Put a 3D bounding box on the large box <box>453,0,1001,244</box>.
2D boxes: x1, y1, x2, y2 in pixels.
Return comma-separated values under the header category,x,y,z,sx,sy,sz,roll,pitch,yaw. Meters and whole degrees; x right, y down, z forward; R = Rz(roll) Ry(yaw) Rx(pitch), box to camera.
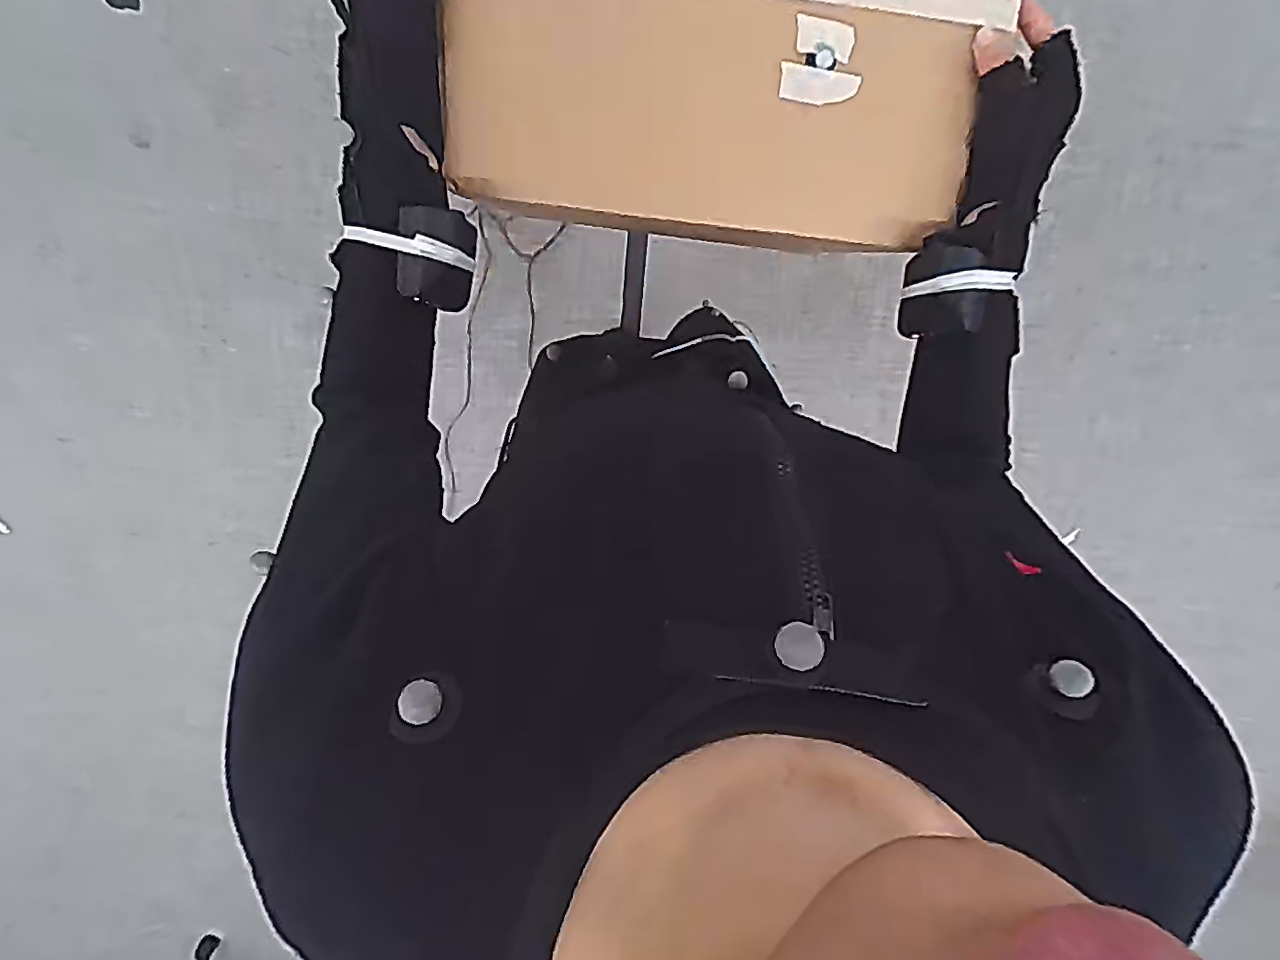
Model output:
category,x,y,z,sx,sy,sz,roll,pitch,yaw
large box,0.057,-0.415,0.519,0.408,0.320,0.320,4,114,-6
